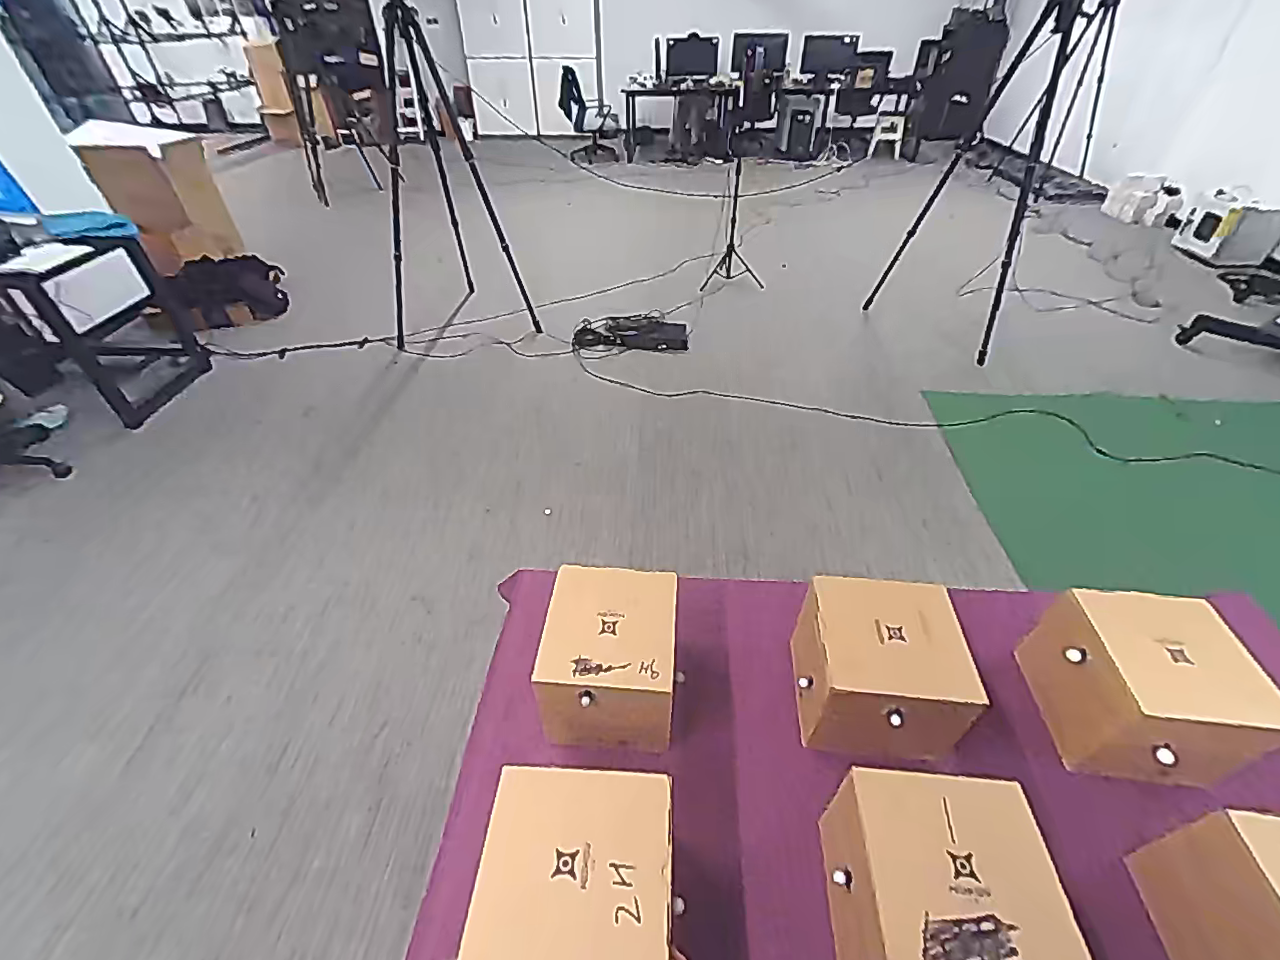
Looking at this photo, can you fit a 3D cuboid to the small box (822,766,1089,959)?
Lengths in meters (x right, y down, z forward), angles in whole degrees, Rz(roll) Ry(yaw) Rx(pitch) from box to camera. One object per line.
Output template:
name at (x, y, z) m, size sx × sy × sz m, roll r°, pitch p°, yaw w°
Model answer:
small box at (0.286, 0.412, 0.528) m, size 0.168 × 0.176 × 0.179 m, roll 3°, pitch 40°, yaw 5°

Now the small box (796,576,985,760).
small box at (0.310, 0.250, 0.718) m, size 0.179 × 0.176 × 0.168 m, roll 4°, pitch 42°, yaw 6°

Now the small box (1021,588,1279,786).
small box at (0.636, 0.264, 0.691) m, size 0.168 × 0.176 × 0.179 m, roll 4°, pitch 40°, yaw 6°

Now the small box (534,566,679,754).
small box at (-0.036, 0.241, 0.735) m, size 0.168 × 0.176 × 0.179 m, roll 3°, pitch 41°, yaw 4°

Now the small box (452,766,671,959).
small box at (-0.060, 0.409, 0.540) m, size 0.179 × 0.176 × 0.168 m, roll 2°, pitch 41°, yaw 3°
